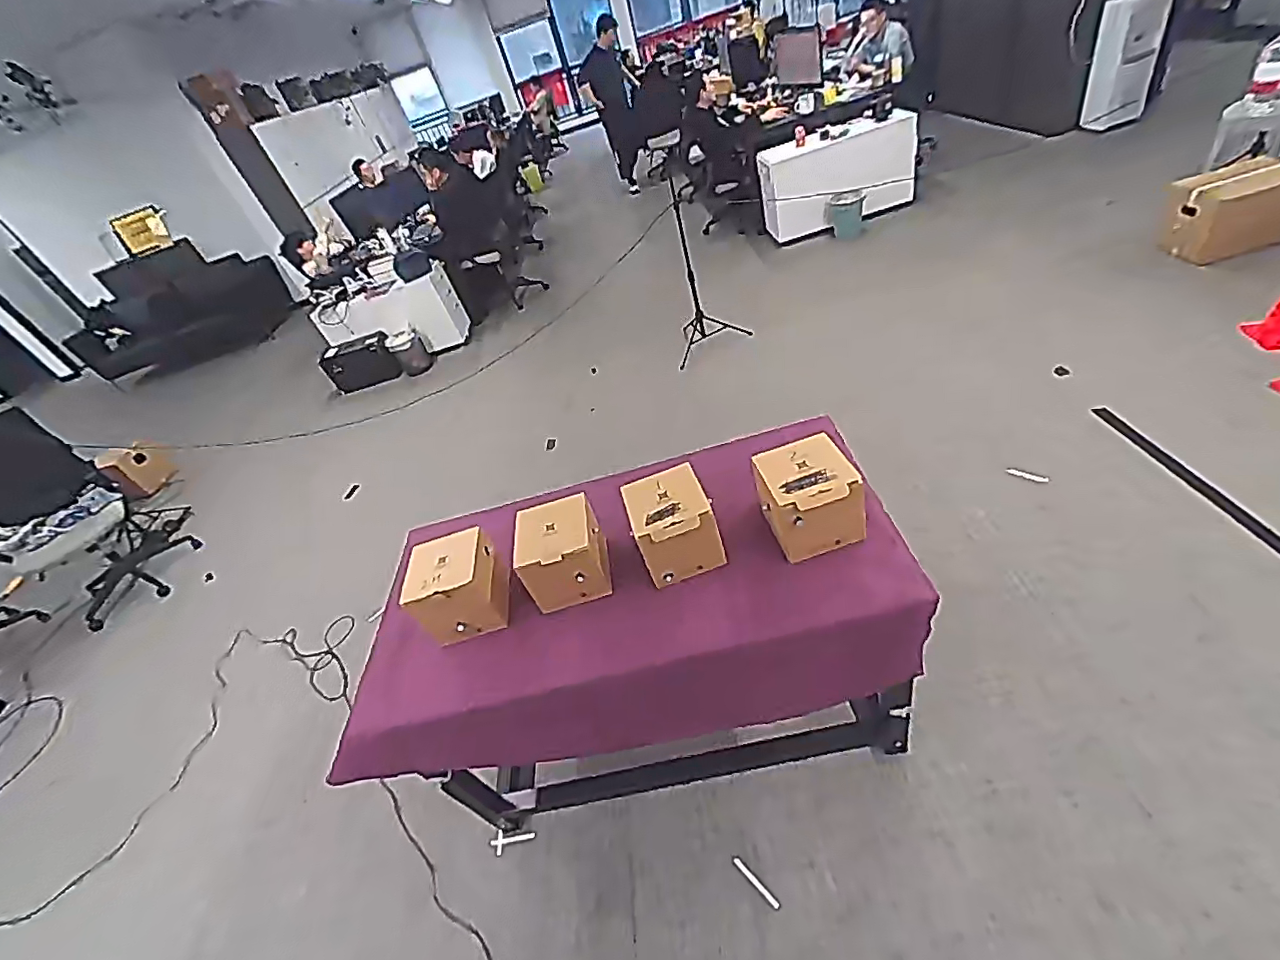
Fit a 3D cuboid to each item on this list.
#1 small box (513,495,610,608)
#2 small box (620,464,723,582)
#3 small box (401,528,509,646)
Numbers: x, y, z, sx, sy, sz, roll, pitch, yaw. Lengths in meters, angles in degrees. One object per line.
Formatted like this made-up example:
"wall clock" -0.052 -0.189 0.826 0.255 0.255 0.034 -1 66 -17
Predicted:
"small box" -0.172 0.168 1.221 0.168 0.176 0.179 -17 39 4
"small box" 0.070 0.102 1.187 0.168 0.176 0.179 -20 39 0
"small box" -0.410 0.245 1.233 0.168 0.176 0.179 -18 40 4
